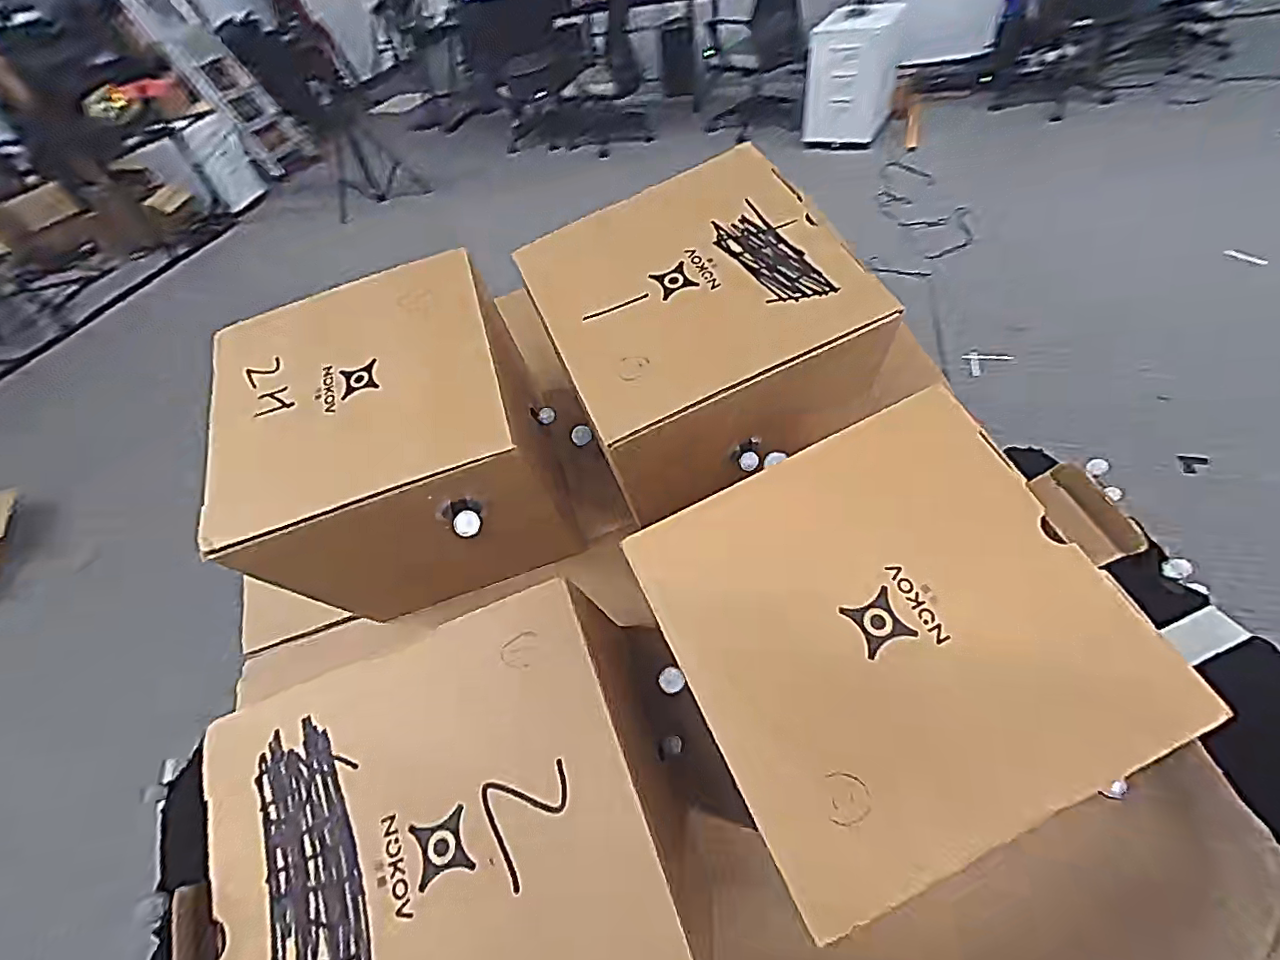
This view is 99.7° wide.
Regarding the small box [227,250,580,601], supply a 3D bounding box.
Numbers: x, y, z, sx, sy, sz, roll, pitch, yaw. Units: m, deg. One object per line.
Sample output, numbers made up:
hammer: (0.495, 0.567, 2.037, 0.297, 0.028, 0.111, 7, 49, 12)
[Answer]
small box: (-0.153, -0.027, 0.402, 0.179, 0.176, 0.168, -18, 62, 1)
